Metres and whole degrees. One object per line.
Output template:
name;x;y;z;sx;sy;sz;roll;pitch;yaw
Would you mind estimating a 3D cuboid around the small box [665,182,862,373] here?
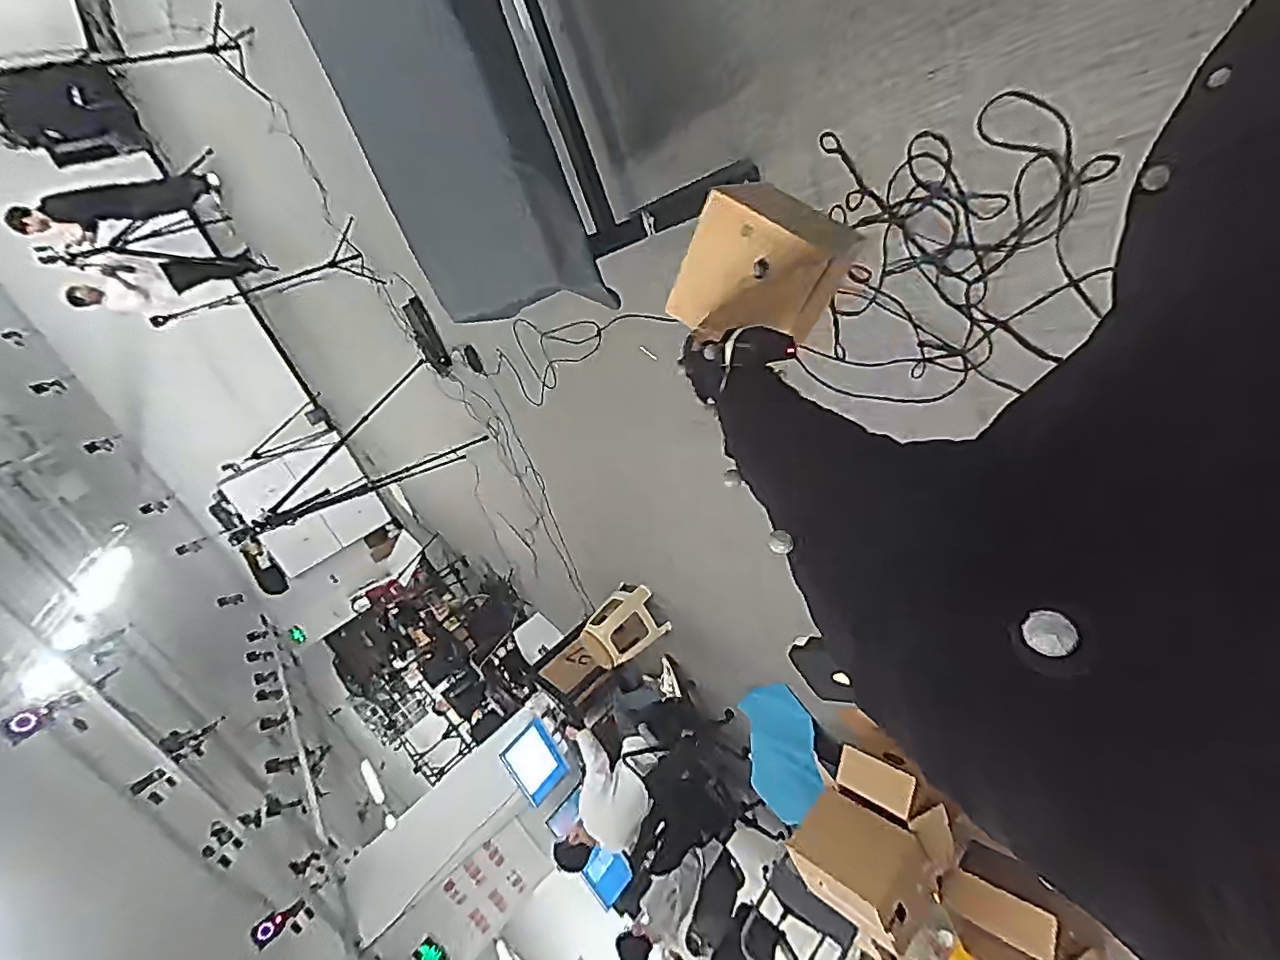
small box;0.167;-0.276;0.720;0.168;0.179;0.176;37;131;13
